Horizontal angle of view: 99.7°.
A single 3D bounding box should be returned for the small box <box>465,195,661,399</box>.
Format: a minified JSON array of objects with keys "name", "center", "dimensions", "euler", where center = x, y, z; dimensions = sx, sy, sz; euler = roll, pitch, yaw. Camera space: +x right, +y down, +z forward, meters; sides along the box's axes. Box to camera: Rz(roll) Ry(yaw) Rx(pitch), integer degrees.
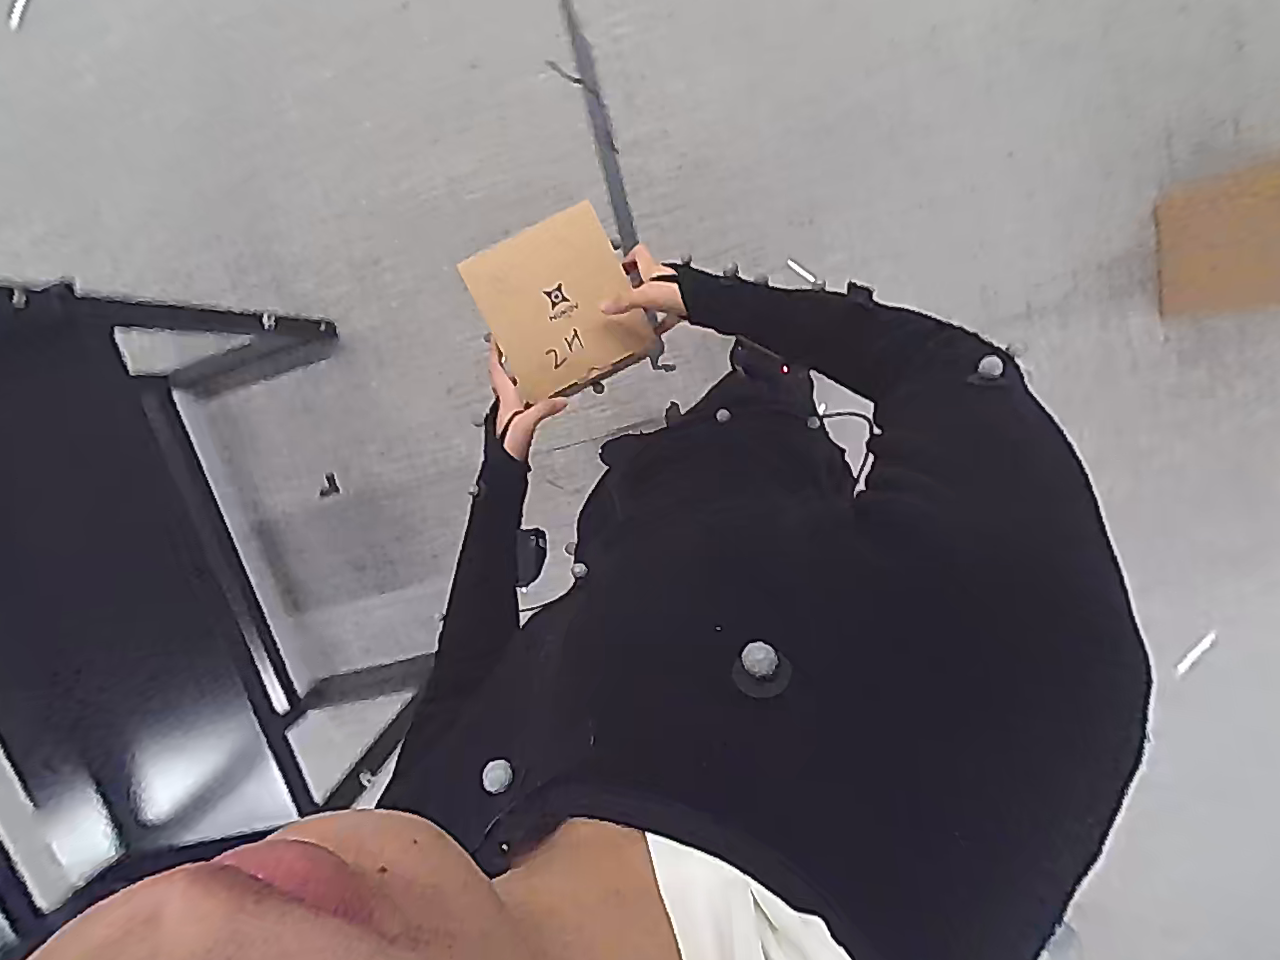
[{"name":"small box","center":[-0.092,-0.211,0.677],"dimensions":[0.168,0.176,0.179],"euler":[-25,100,-1]}]
